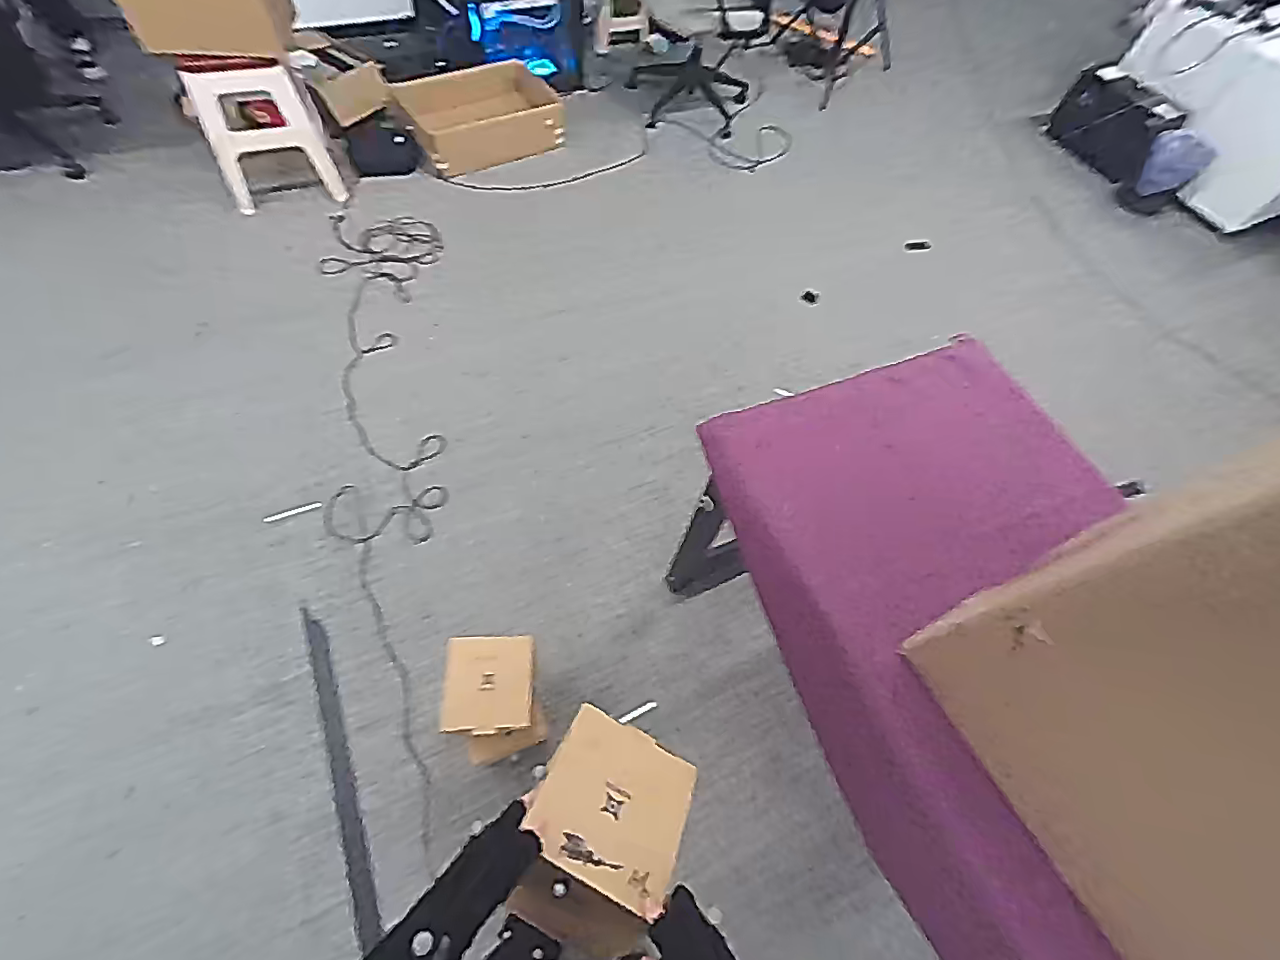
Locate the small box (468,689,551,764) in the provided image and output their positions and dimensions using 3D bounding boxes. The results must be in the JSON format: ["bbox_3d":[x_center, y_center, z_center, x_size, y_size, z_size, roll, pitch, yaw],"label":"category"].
[{"bbox_3d":[-0.309,0.533,1.243,0.168,0.176,0.179,-18,65,-16],"label":"small box"}]

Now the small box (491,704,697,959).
[{"bbox_3d":[-0.056,0.417,0.646,0.168,0.176,0.179,29,33,4],"label":"small box"}]

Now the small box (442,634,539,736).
[{"bbox_3d":[-0.298,0.428,1.116,0.168,0.176,0.179,0,60,-8],"label":"small box"}]
